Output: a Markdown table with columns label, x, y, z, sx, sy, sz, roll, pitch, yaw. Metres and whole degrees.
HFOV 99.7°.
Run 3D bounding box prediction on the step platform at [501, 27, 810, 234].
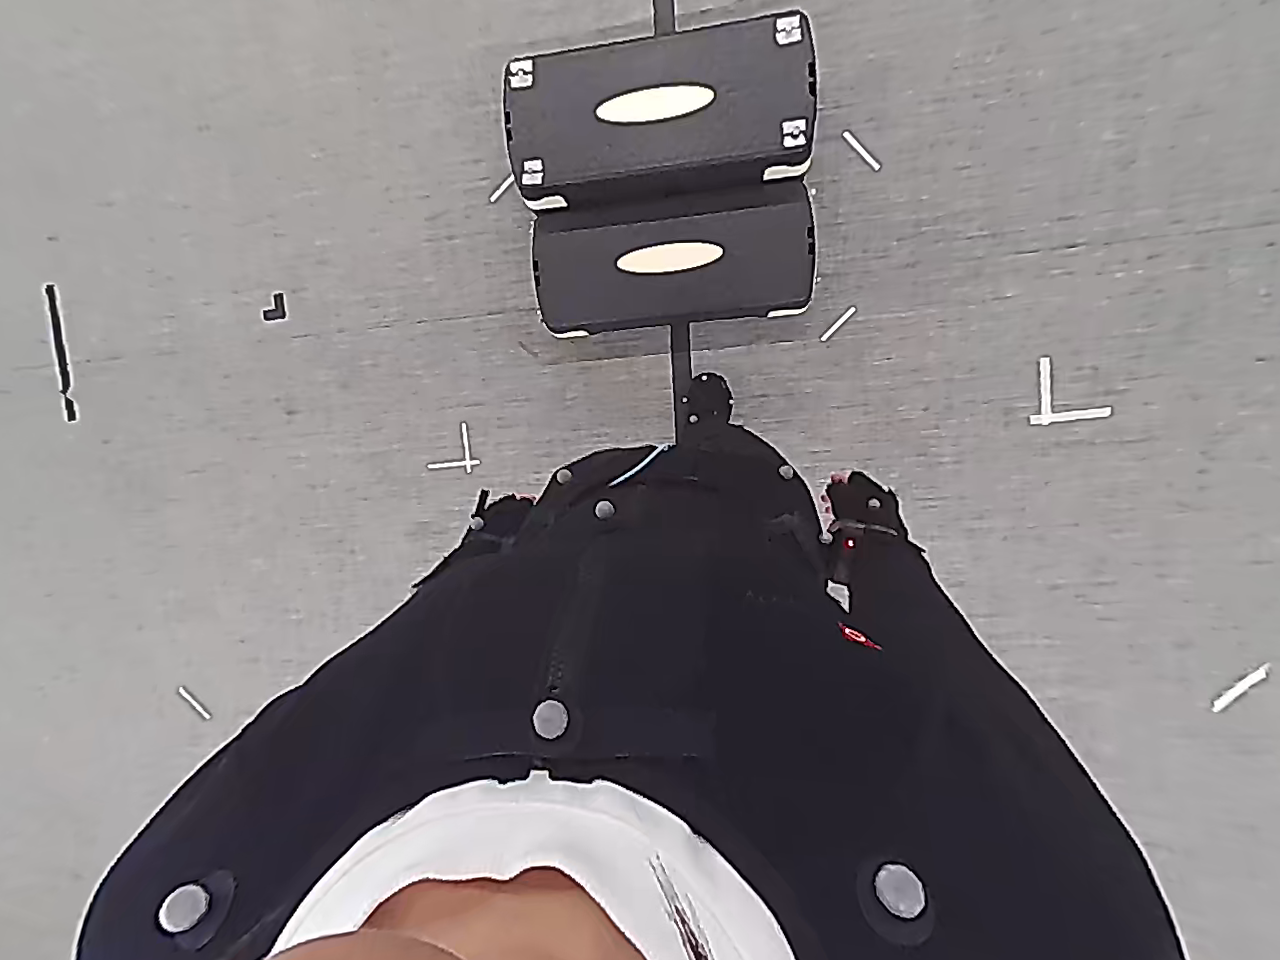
| label | x | y | z | sx | sy | sz | roll | pitch | yaw |
| --- | --- | --- | --- | --- | --- | --- | --- | --- | --- |
| step platform | 0.031 | -0.777 | 1.234 | 0.684 | 0.204 | 0.286 | -4 | 98 | 7 |
